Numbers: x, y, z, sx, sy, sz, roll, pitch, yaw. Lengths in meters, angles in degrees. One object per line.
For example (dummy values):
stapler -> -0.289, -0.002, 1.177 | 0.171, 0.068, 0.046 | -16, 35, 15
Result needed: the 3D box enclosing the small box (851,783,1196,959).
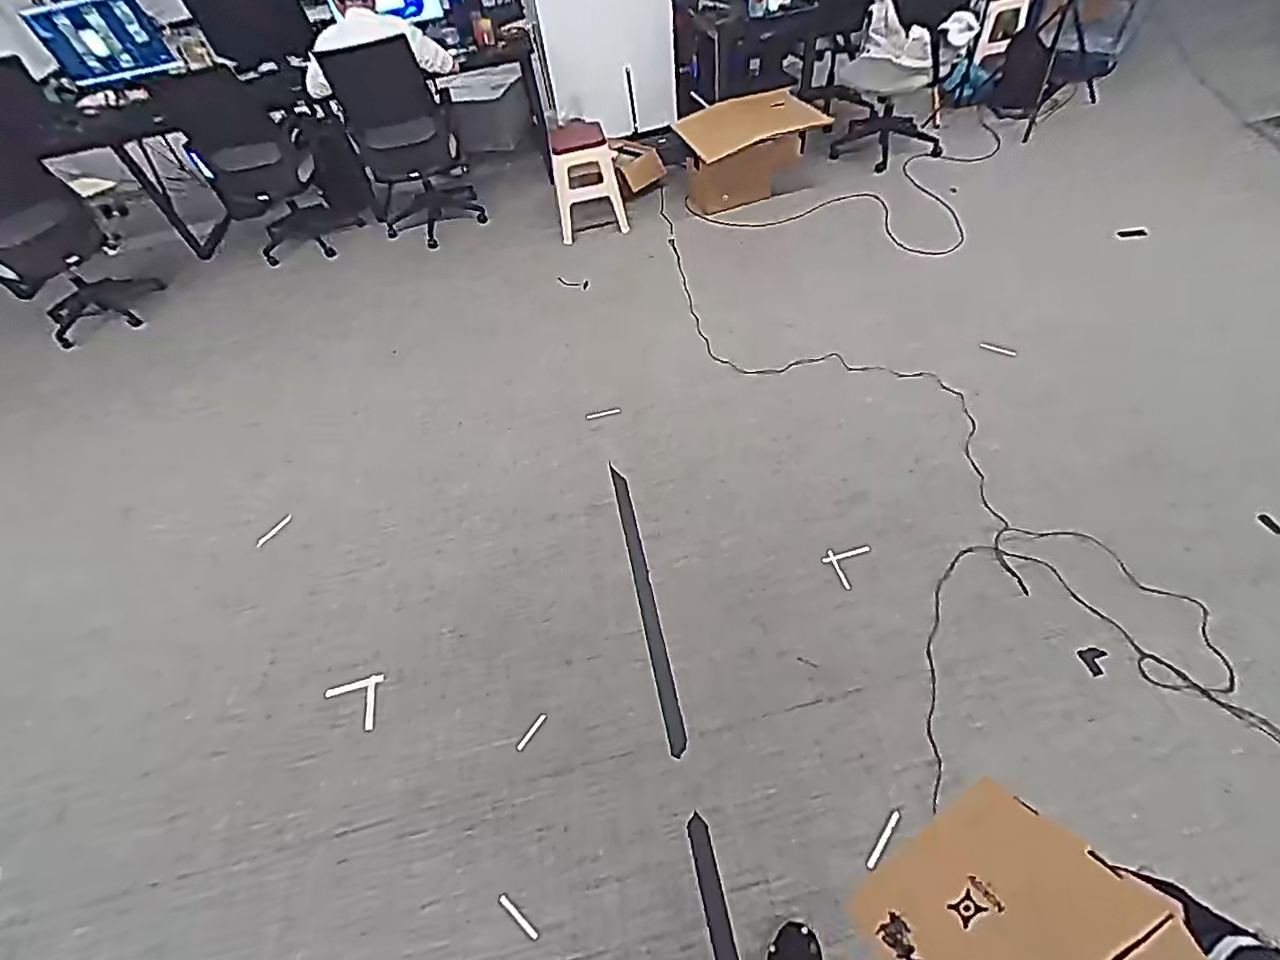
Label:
small box -> 0.315, 0.398, 0.427 | 0.179, 0.168, 0.176 | -35, 90, -5
